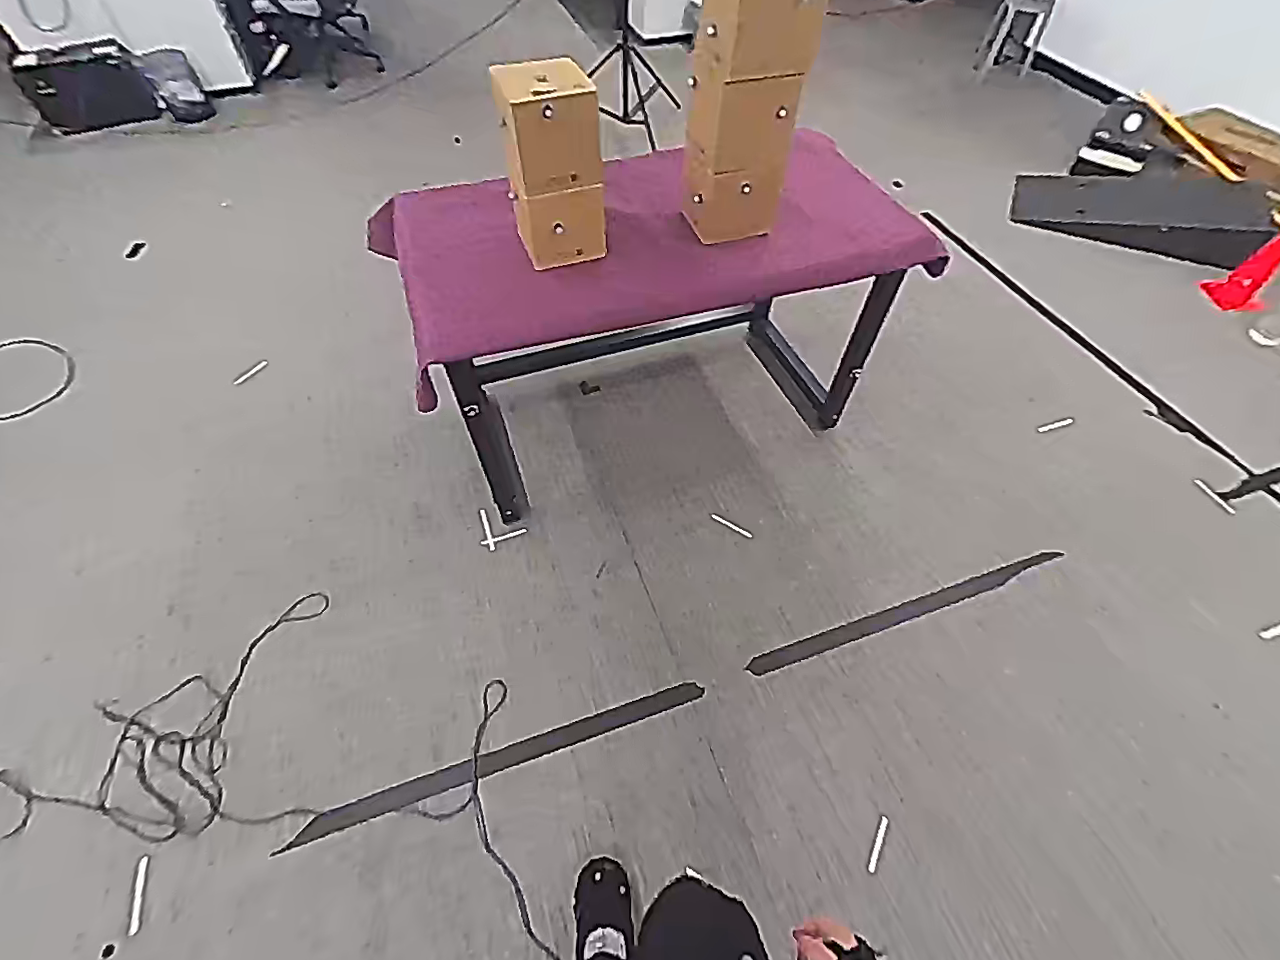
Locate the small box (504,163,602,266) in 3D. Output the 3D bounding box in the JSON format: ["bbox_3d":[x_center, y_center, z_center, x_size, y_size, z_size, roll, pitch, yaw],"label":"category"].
[{"bbox_3d":[-0.188,-0.599,1.205,0.168,0.176,0.179,-18,57,-12],"label":"small box"}]

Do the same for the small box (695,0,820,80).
[{"bbox_3d":[0.214,-0.871,0.996,0.179,0.176,0.168,-16,57,-10],"label":"small box"}]

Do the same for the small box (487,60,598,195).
[{"bbox_3d":[-0.189,-0.698,1.075,0.168,0.176,0.179,-19,56,-13],"label":"small box"}]

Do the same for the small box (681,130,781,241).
[{"bbox_3d":[0.201,-0.685,1.267,0.179,0.176,0.168,-15,58,-11],"label":"small box"}]
